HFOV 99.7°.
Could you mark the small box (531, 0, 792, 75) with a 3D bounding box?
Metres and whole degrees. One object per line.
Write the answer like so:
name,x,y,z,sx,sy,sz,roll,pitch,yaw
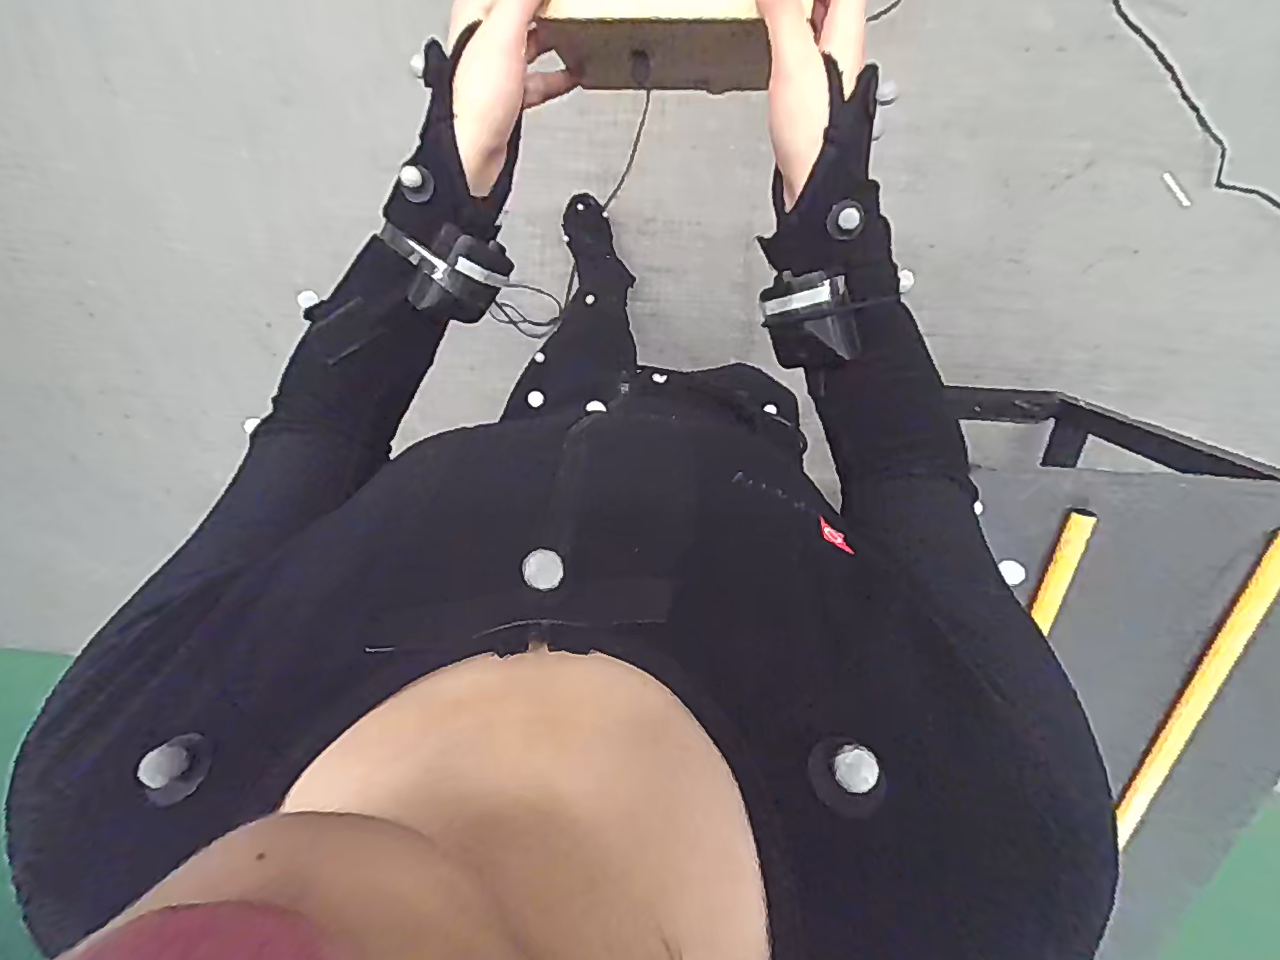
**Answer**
small box,0.024,-0.393,0.356,0.168,0.176,0.179,3,112,4
